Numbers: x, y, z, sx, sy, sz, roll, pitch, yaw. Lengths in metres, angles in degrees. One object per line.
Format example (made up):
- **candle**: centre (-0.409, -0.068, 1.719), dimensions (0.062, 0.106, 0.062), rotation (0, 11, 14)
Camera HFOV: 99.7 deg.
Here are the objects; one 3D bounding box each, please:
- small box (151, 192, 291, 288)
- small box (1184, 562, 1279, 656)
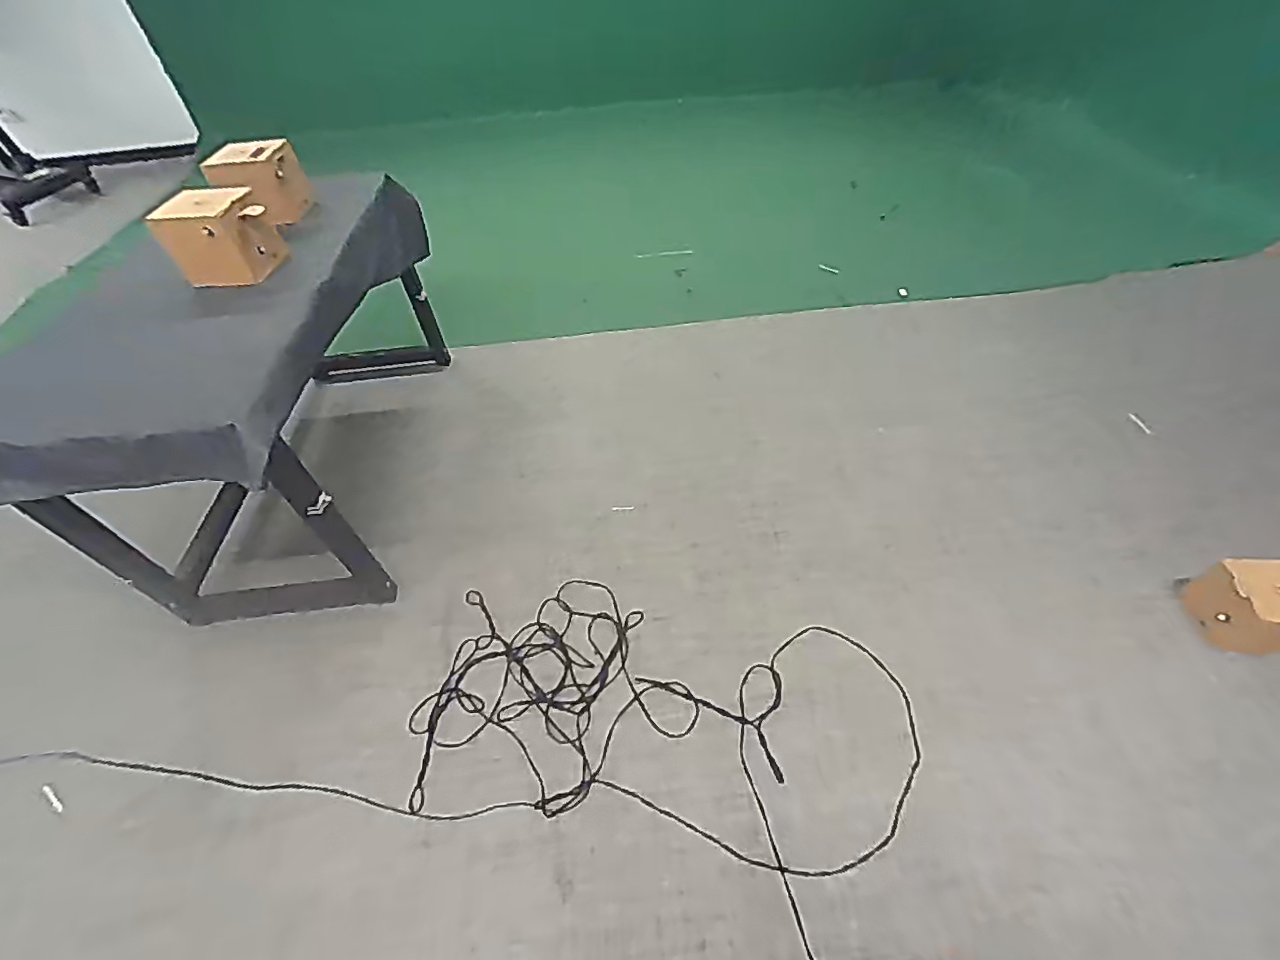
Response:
- **small box**: centre (-1.011, -0.584, 1.324), dimensions (0.179, 0.176, 0.168), rotation (-1, 48, 3)
- **small box**: centre (1.489, 0.315, 1.308), dimensions (0.179, 0.176, 0.168), rotation (2, 50, 5)
